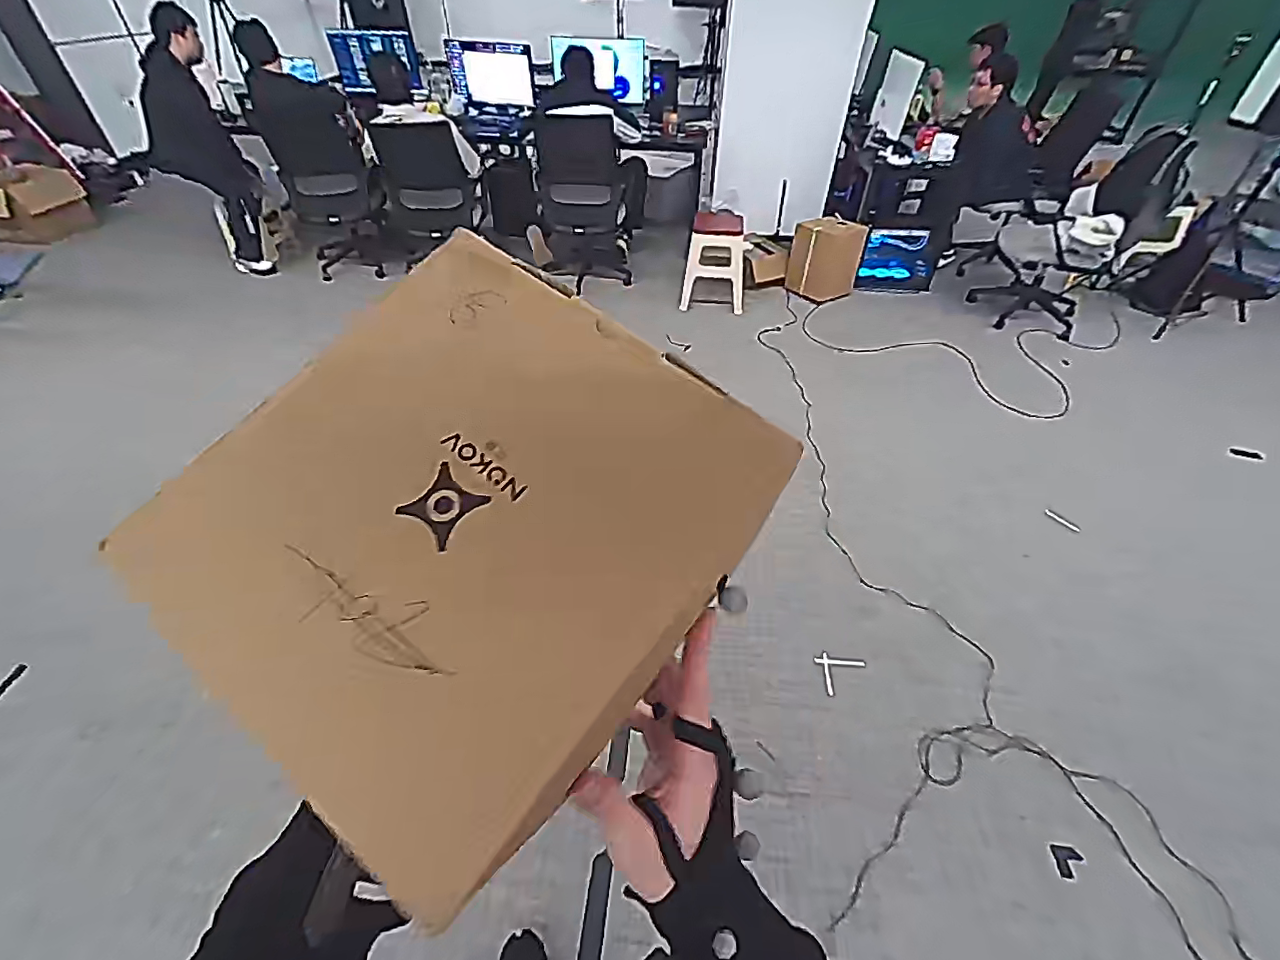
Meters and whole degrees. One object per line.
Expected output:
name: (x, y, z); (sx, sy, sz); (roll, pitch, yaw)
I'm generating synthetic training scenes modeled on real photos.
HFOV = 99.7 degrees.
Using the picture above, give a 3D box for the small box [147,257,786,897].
small box: (-0.058, 0.038, 0.269); (0.168, 0.176, 0.179); (34, 75, 15)
